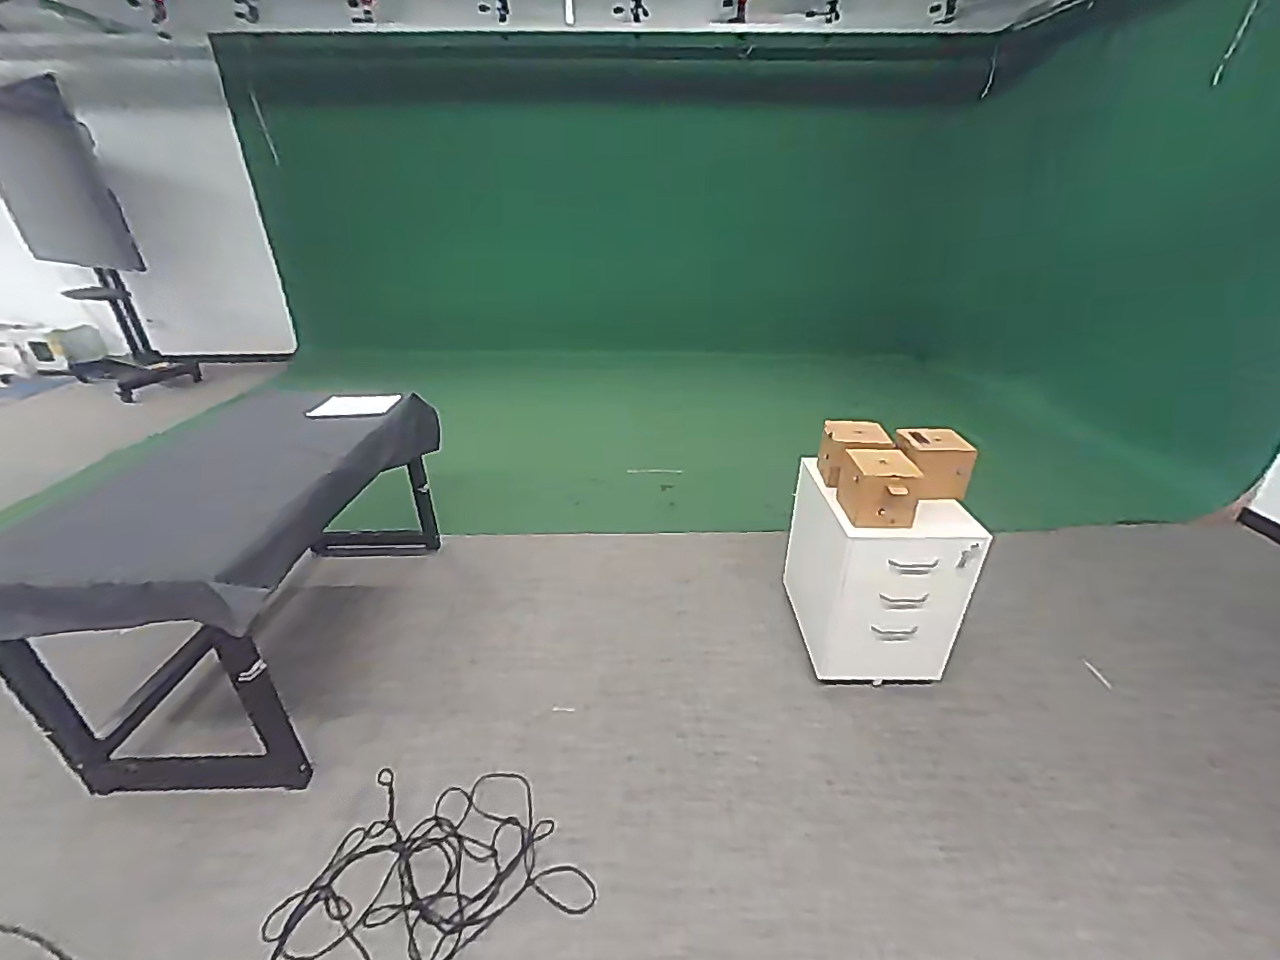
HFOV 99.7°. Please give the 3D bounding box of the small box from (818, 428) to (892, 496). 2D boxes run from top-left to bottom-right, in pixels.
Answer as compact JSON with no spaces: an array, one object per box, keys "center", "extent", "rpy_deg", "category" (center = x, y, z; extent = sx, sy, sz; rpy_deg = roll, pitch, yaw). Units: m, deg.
[{"center":[0.687,-0.059,1.754],"extent":[0.179,0.176,0.168],"rpy_deg":[3,29,3],"category":"small box"}]
